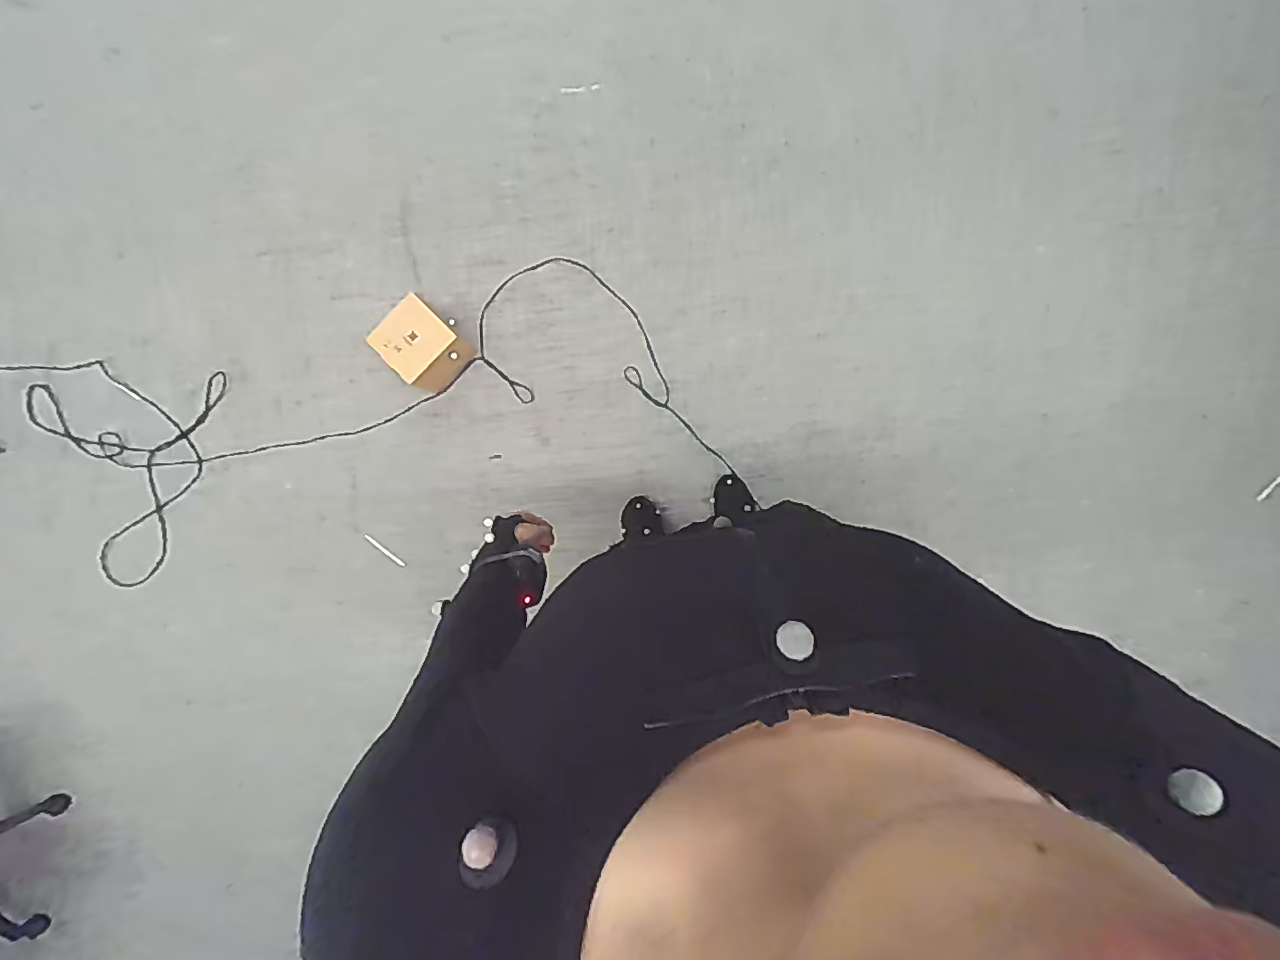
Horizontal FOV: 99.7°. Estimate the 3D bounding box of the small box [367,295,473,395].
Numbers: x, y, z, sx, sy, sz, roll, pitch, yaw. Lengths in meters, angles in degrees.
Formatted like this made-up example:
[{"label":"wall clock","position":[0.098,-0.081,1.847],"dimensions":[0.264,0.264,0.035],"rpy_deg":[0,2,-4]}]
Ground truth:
[{"label":"small box","position":[-0.568,-0.349,1.431],"dimensions":[0.179,0.176,0.168],"rpy_deg":[-45,88,2]}]
